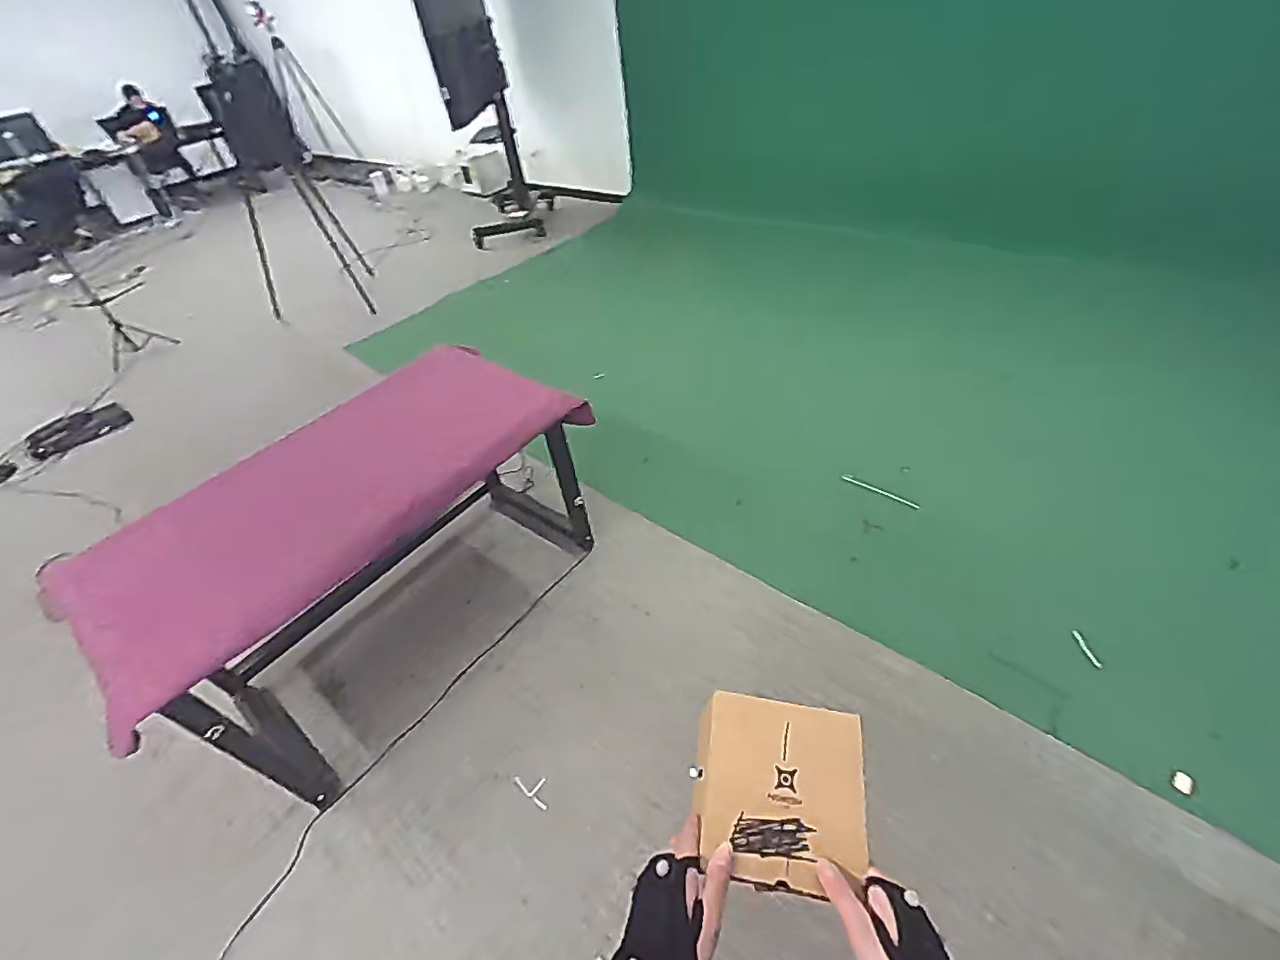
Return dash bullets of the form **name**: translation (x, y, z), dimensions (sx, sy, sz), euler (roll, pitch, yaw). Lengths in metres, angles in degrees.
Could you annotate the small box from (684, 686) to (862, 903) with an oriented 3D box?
- **small box**: translation (0.144, 0.363, 0.628), dimensions (0.168, 0.176, 0.179), euler (8, 54, 5)
